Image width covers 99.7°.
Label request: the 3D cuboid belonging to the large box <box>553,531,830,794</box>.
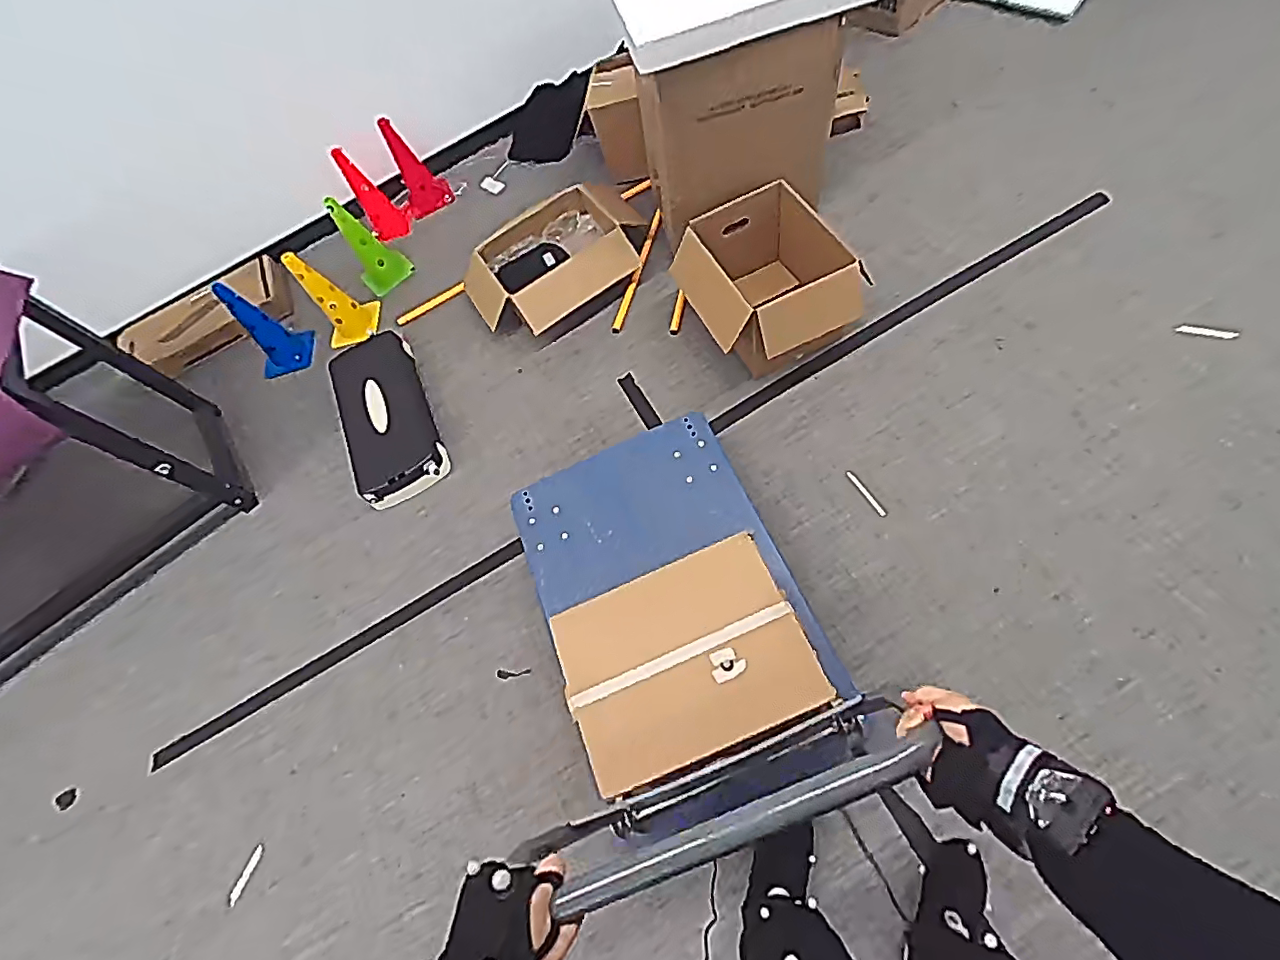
[{"bbox_3d":[0.100,0.363,1.060,0.408,0.320,0.320,-25,62,0],"label":"large box"}]
